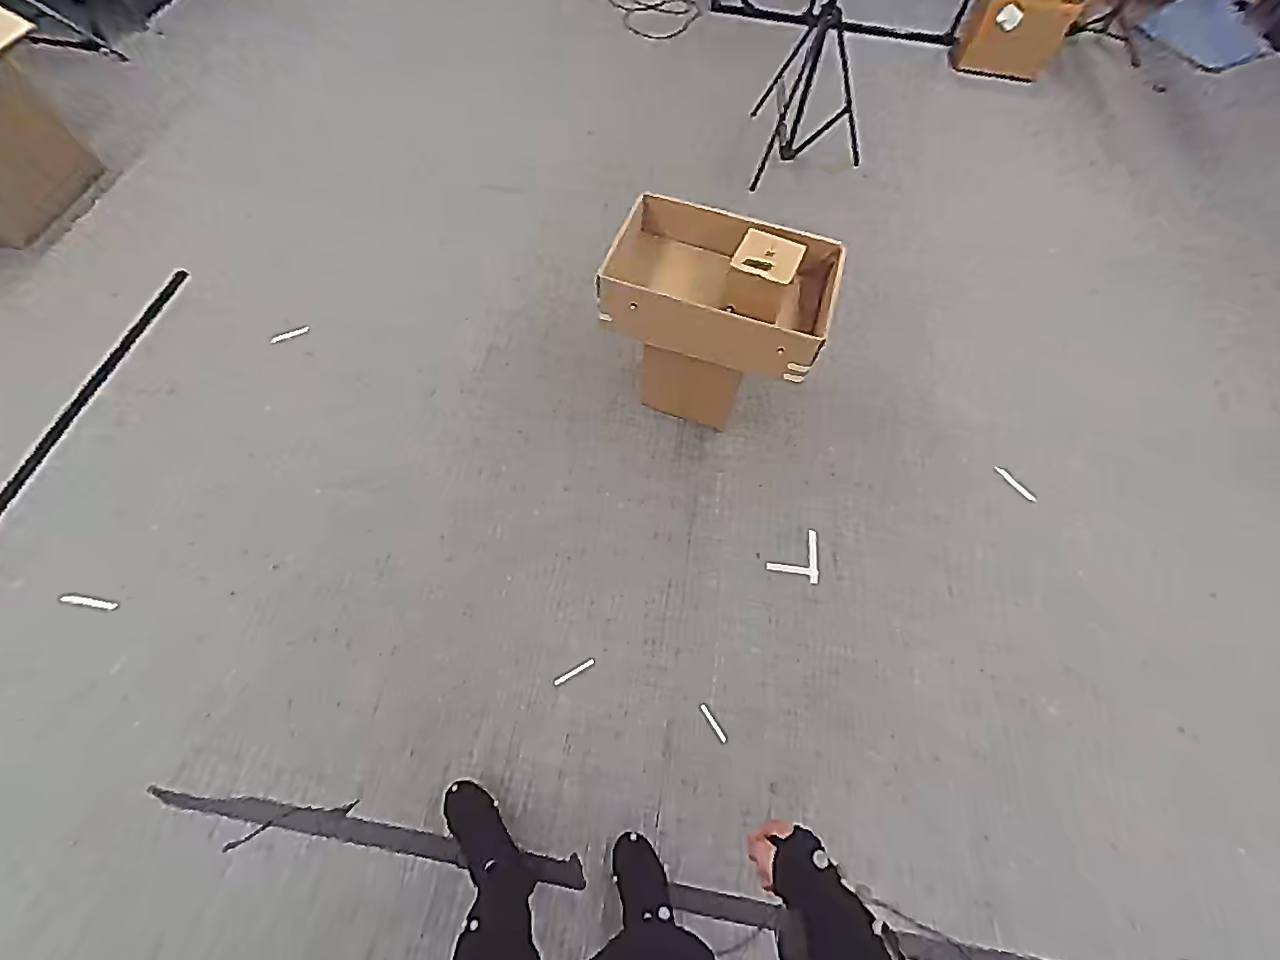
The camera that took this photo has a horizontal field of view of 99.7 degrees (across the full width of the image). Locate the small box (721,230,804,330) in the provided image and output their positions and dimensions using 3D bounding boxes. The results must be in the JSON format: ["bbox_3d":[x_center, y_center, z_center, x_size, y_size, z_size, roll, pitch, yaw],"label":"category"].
[{"bbox_3d":[0.335,-0.553,1.512,0.168,0.176,0.179,23,62,9],"label":"small box"}]
